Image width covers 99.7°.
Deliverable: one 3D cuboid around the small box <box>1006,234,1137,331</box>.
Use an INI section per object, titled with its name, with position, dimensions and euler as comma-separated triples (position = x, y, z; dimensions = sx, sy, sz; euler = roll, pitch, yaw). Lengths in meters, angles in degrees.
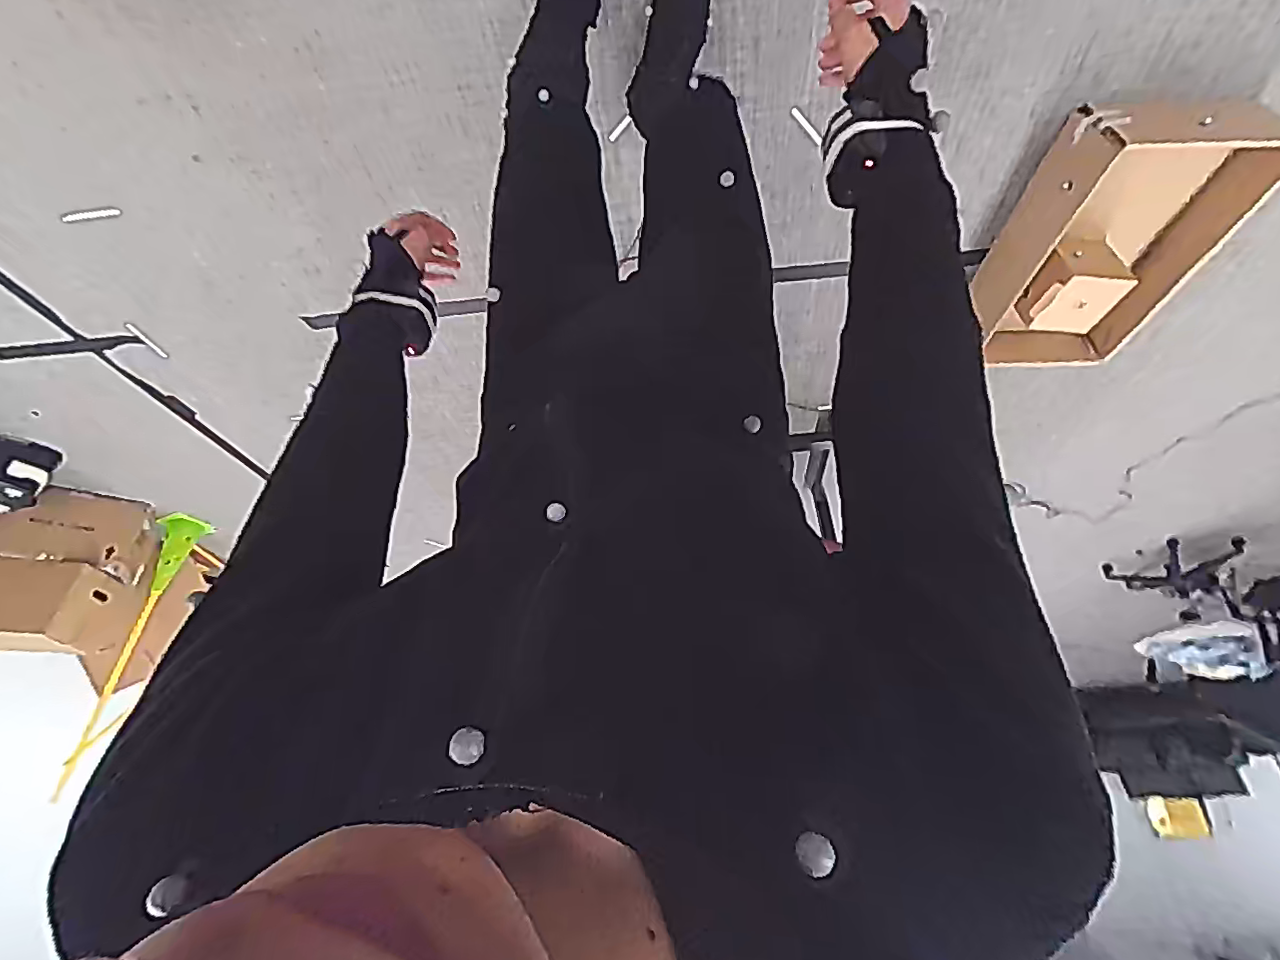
[small box]
position = 1.100, -0.512, 1.399
dimensions = 0.179, 0.176, 0.168
euler = 3, 147, -6
